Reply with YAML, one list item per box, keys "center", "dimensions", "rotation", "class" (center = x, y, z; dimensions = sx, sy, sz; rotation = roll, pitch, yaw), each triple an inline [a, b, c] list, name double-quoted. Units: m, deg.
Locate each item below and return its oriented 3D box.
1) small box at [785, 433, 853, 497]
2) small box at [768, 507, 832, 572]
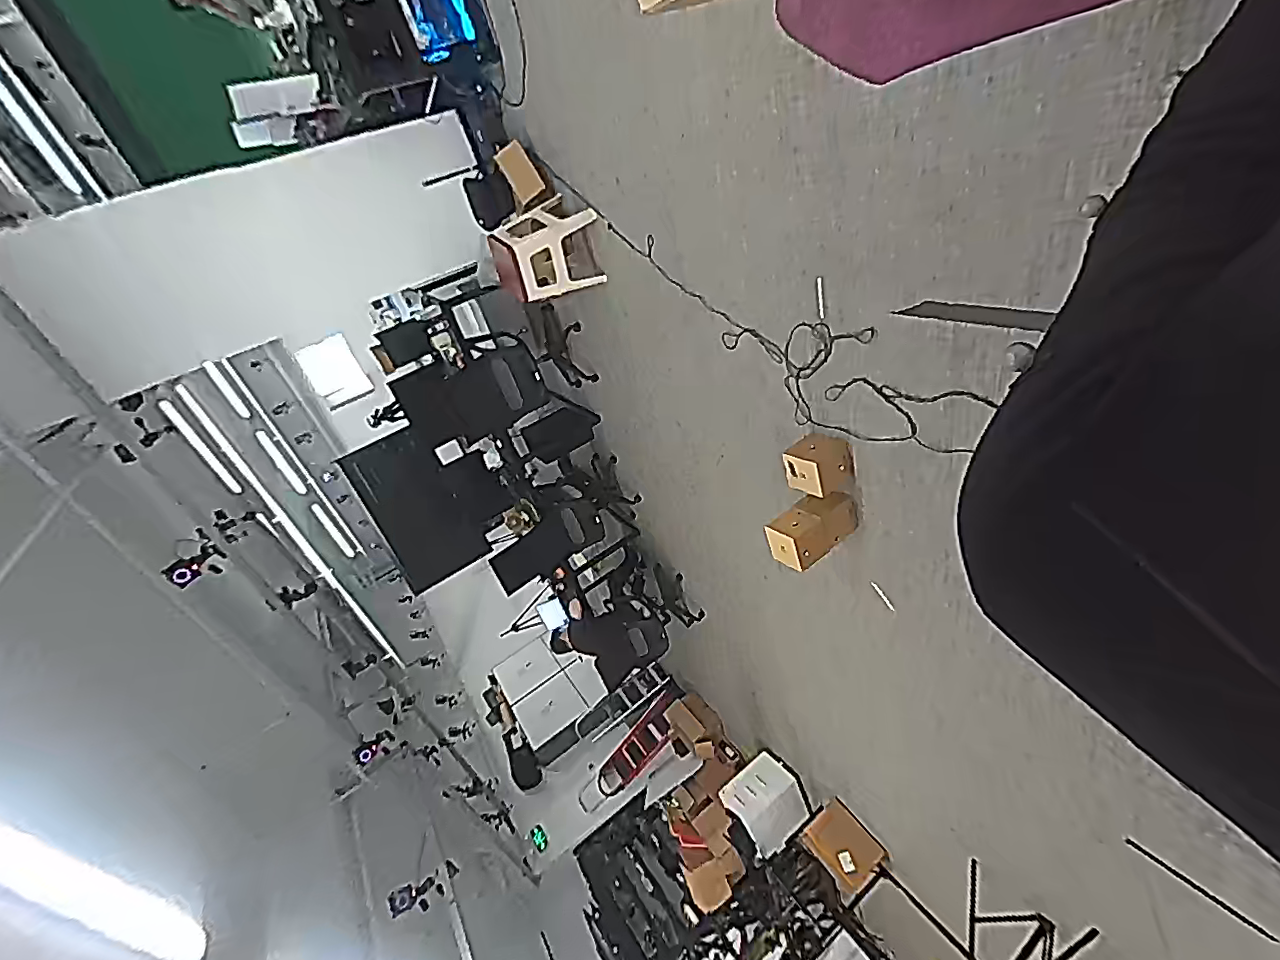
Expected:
- center: [0.701, -0.066, 2.111]
  dimensions: [0.179, 0.176, 0.168]
  rotation: [28, 145, 54]
  class: "small box"
- center: [0.652, 0.234, 2.196]
  dimensions: [0.168, 0.176, 0.179]
  rotation: [26, 143, 57]
  class: "small box"
